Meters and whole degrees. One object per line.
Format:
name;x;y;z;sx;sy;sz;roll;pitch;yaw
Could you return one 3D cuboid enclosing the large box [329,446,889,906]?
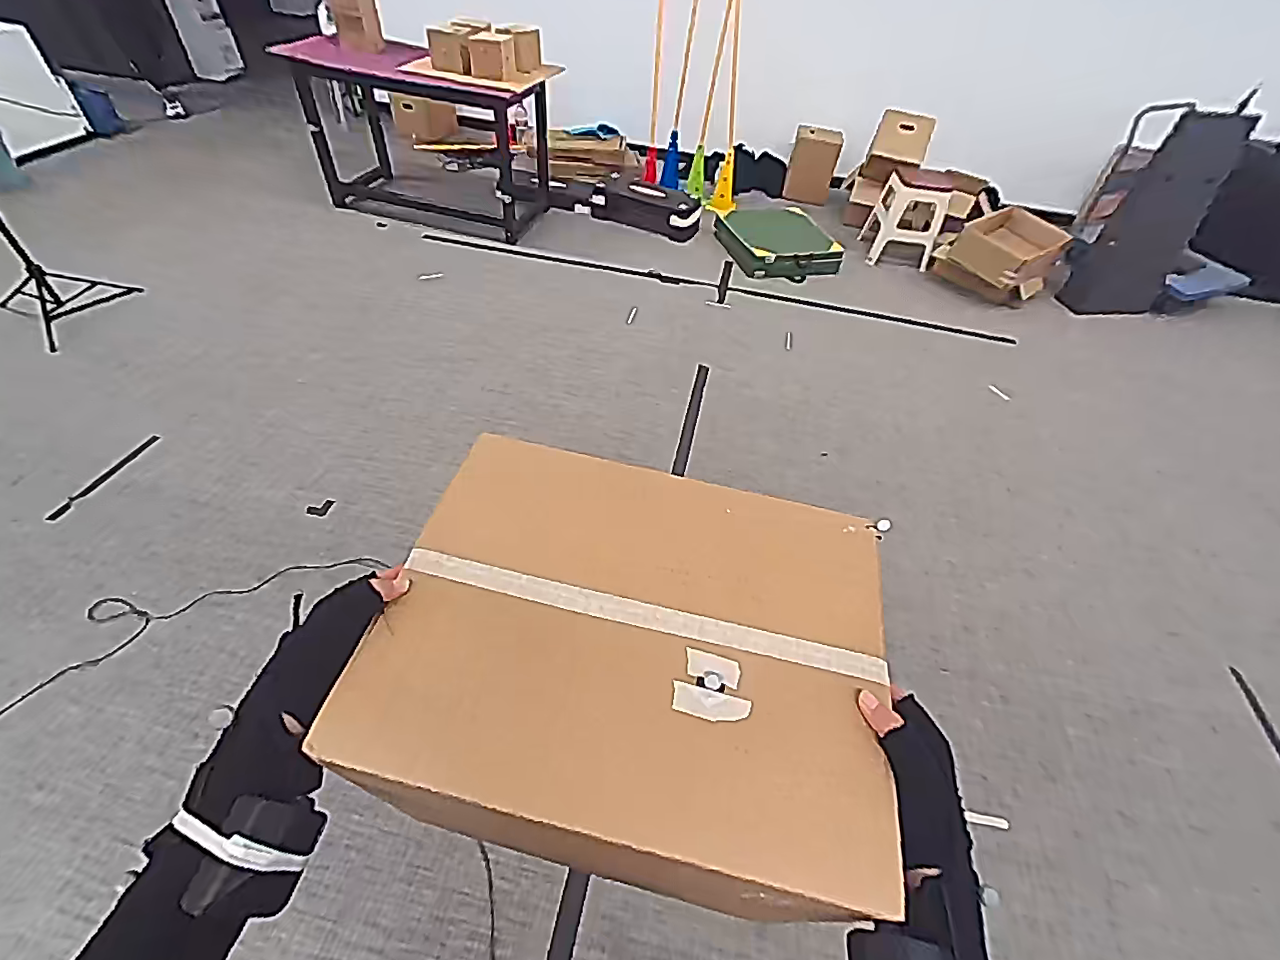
large box;-0.012;0.211;0.575;0.408;0.320;0.320;13;52;4
